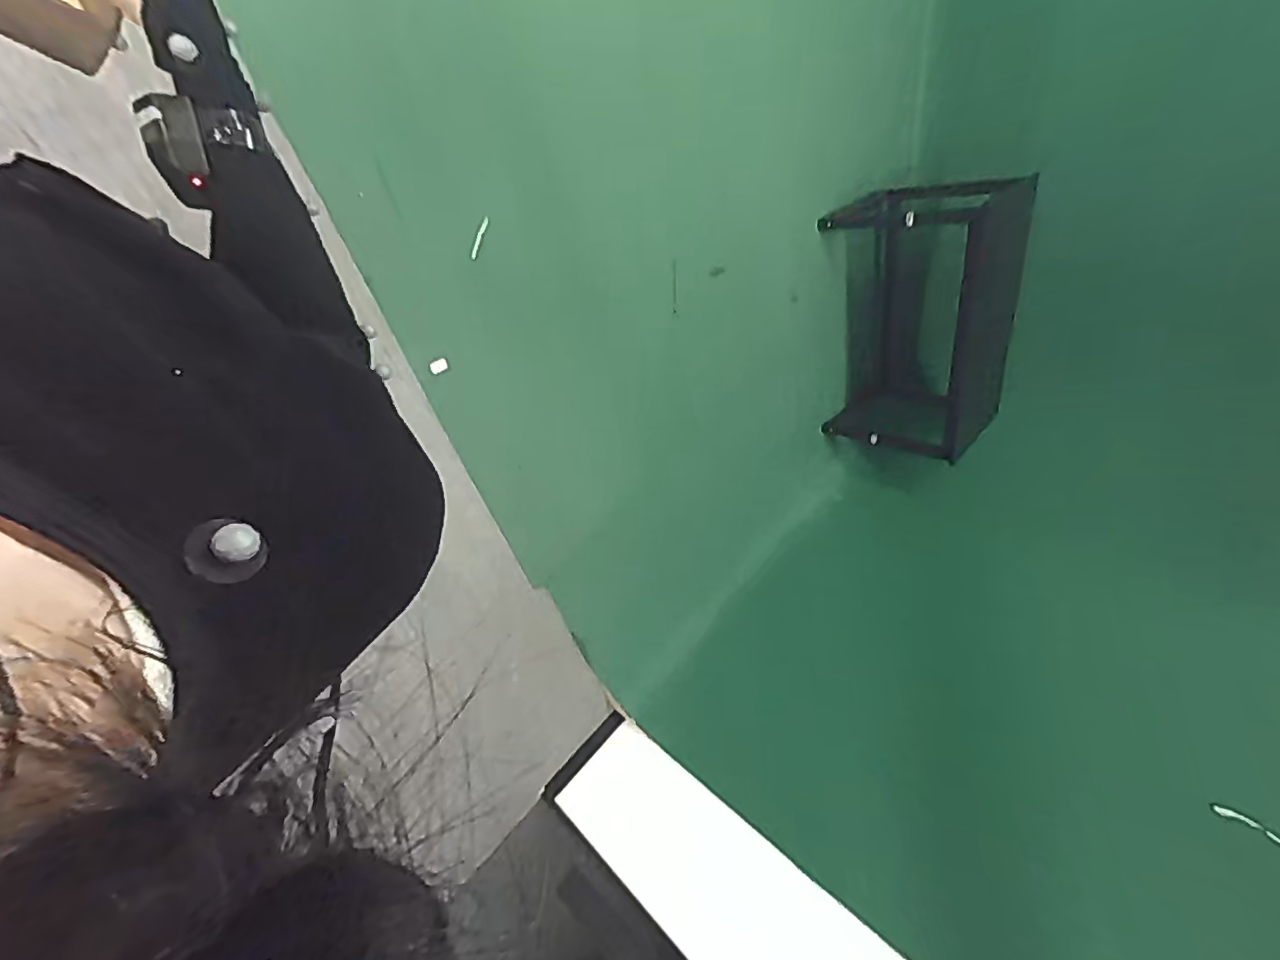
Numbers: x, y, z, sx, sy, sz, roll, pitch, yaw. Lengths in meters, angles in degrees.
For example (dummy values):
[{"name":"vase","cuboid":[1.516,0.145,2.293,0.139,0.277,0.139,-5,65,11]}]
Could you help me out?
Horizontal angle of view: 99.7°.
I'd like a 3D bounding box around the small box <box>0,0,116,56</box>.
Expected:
[{"name":"small box","cuboid":[-0.473,-0.431,0.363,0.179,0.176,0.168,8,99,-50]}]
